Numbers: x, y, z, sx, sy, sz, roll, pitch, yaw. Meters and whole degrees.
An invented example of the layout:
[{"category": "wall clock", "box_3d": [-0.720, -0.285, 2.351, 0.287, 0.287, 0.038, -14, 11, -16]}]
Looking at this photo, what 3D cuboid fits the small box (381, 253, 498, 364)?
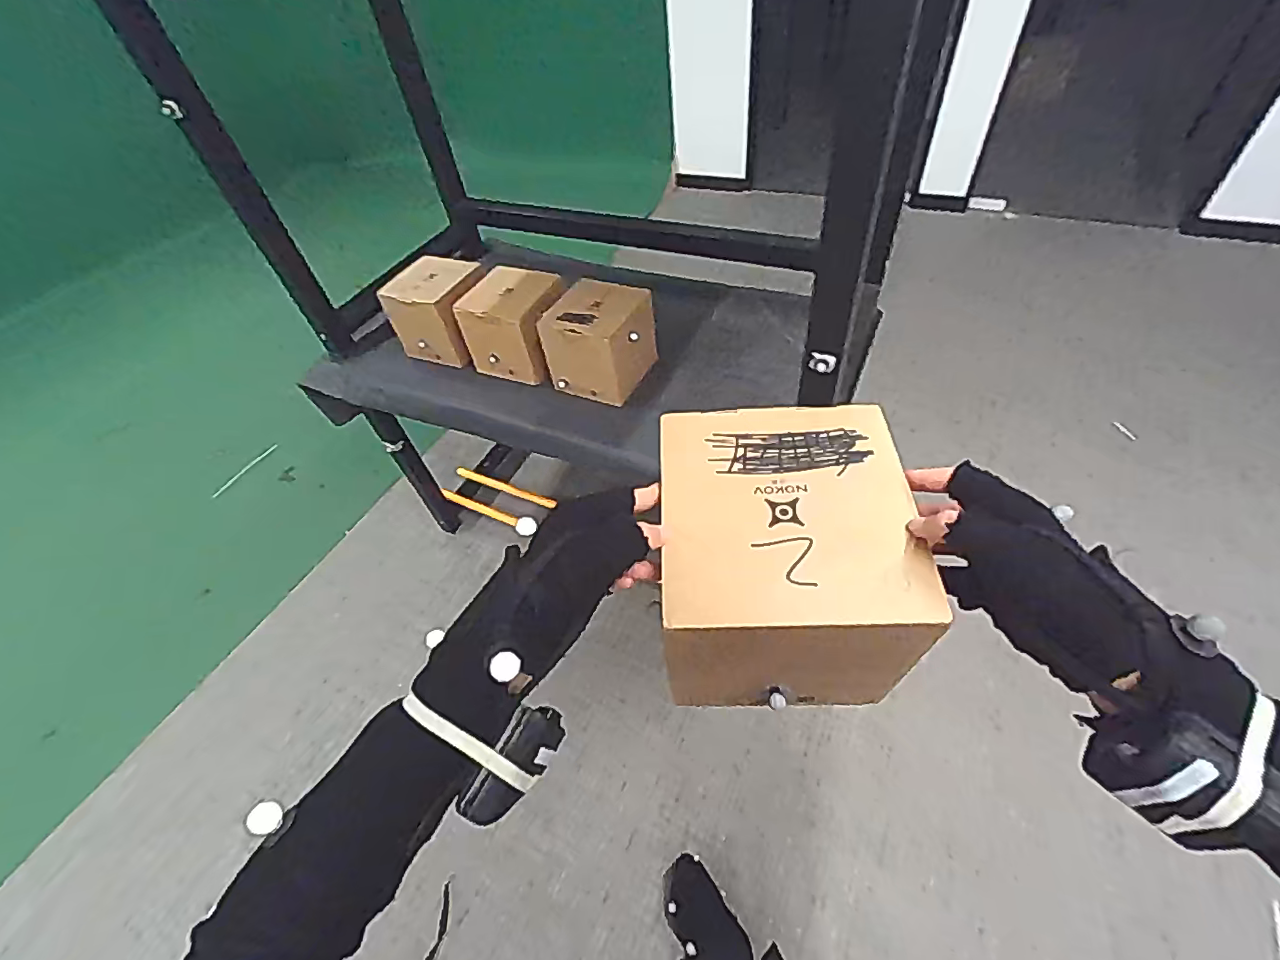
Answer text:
[{"category": "small box", "box_3d": [-0.452, -0.399, 1.260, 0.168, 0.176, 0.179, 16, 54, 20]}]
